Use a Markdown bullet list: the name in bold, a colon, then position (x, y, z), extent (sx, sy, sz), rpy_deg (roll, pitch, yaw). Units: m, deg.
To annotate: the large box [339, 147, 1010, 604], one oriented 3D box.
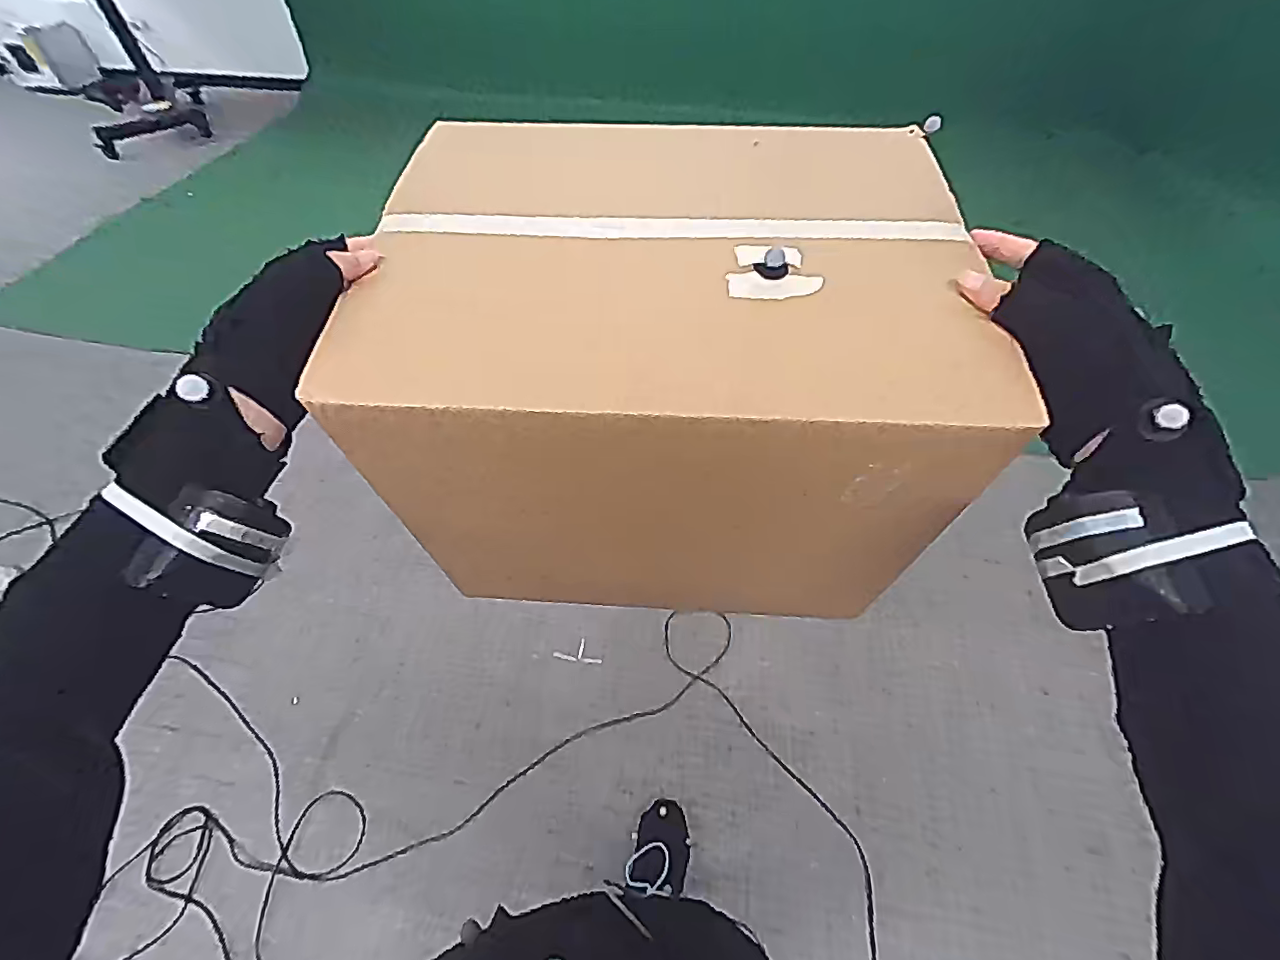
- **large box**: position (0.023, -0.084, 0.520), extent (0.408, 0.320, 0.320), rpy_deg (3, 58, 2)
